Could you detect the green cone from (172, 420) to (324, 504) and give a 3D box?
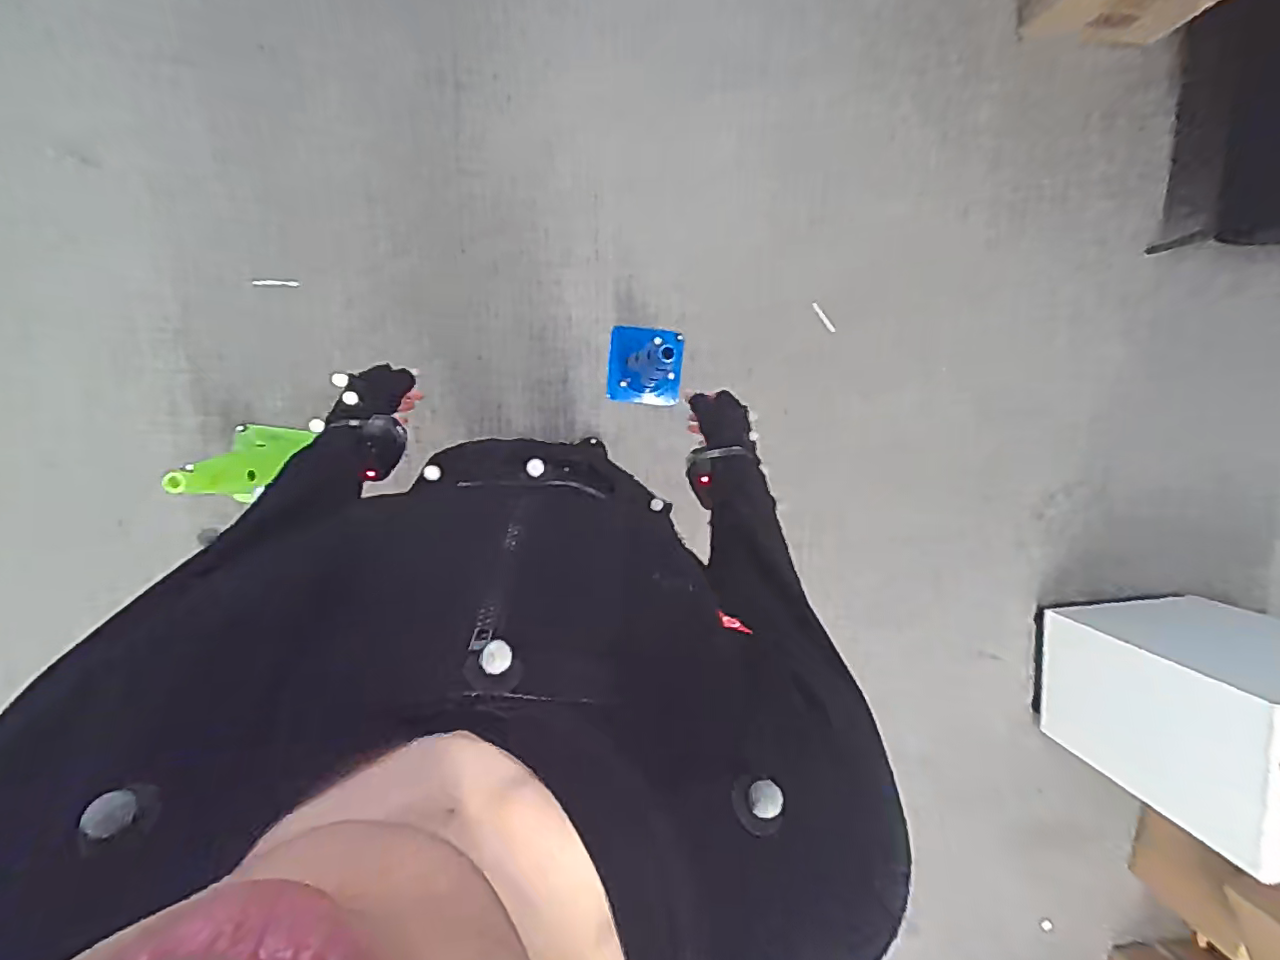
[{"bbox_3d":[-0.894,-0.026,1.203,0.202,0.368,0.200,6,96,-7],"label":"green cone"}]
